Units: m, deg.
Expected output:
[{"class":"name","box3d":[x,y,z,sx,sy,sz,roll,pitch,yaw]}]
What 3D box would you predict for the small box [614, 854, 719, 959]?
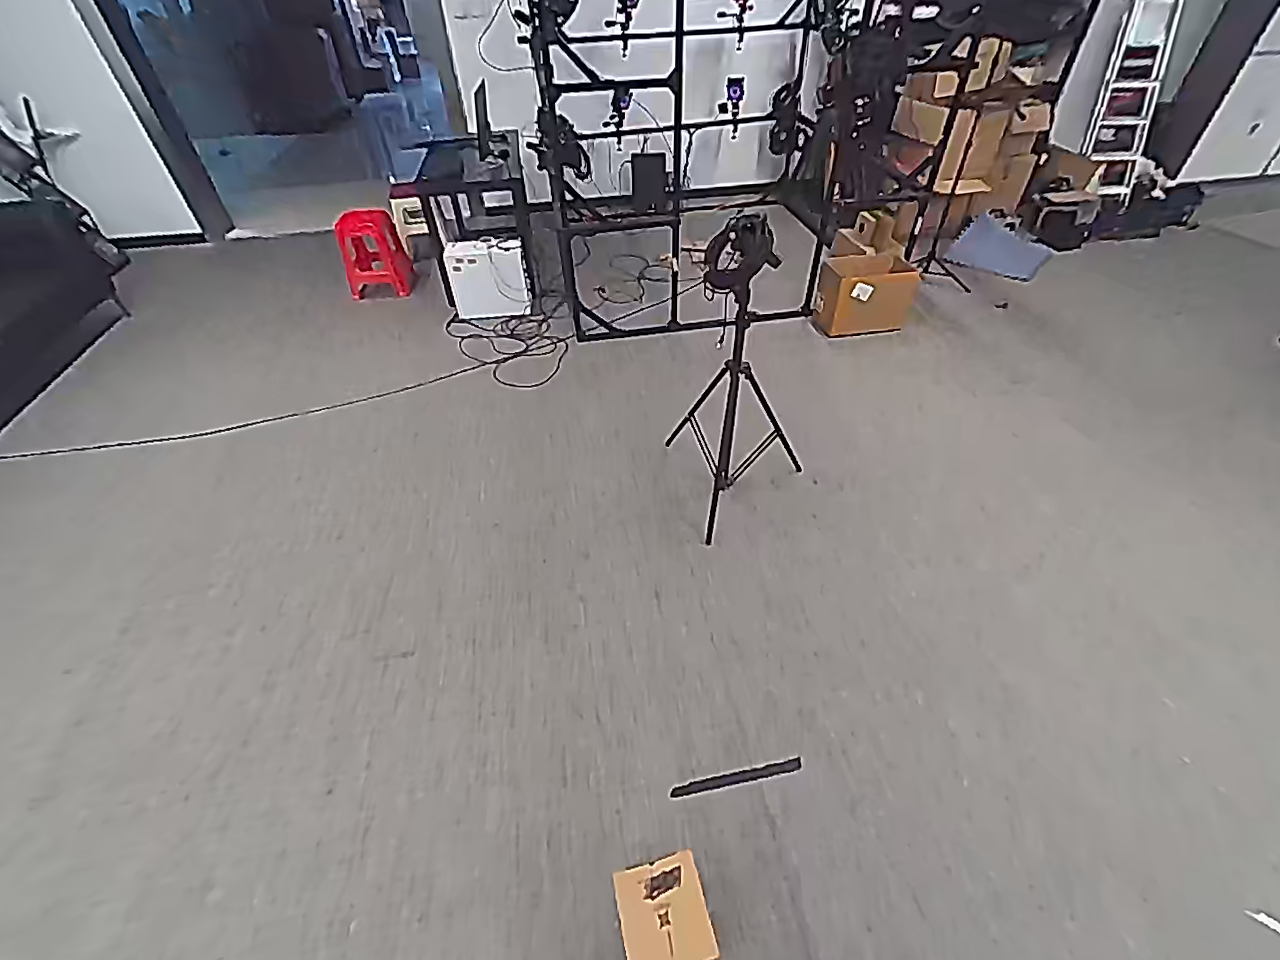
[{"class":"small box","box3d":[0.048,0.882,1.070,0.168,0.176,0.179,-12,45,-8]}]
